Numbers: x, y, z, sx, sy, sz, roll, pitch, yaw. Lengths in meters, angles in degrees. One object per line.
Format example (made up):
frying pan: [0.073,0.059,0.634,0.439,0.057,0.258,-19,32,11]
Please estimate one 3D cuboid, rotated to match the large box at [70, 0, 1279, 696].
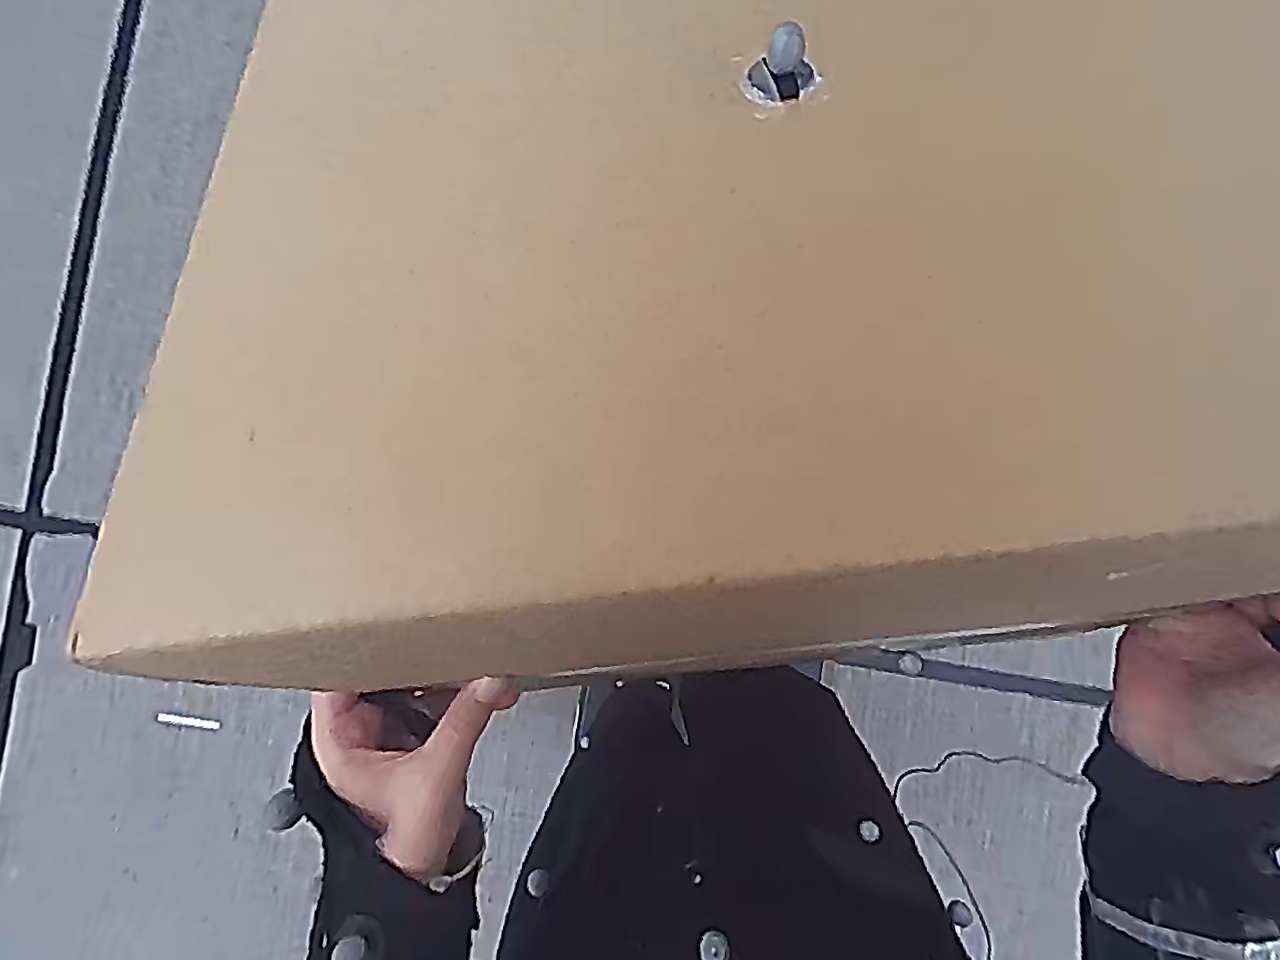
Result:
large box: [0.047,-0.064,0.317,0.408,0.320,0.320,-8,68,3]
